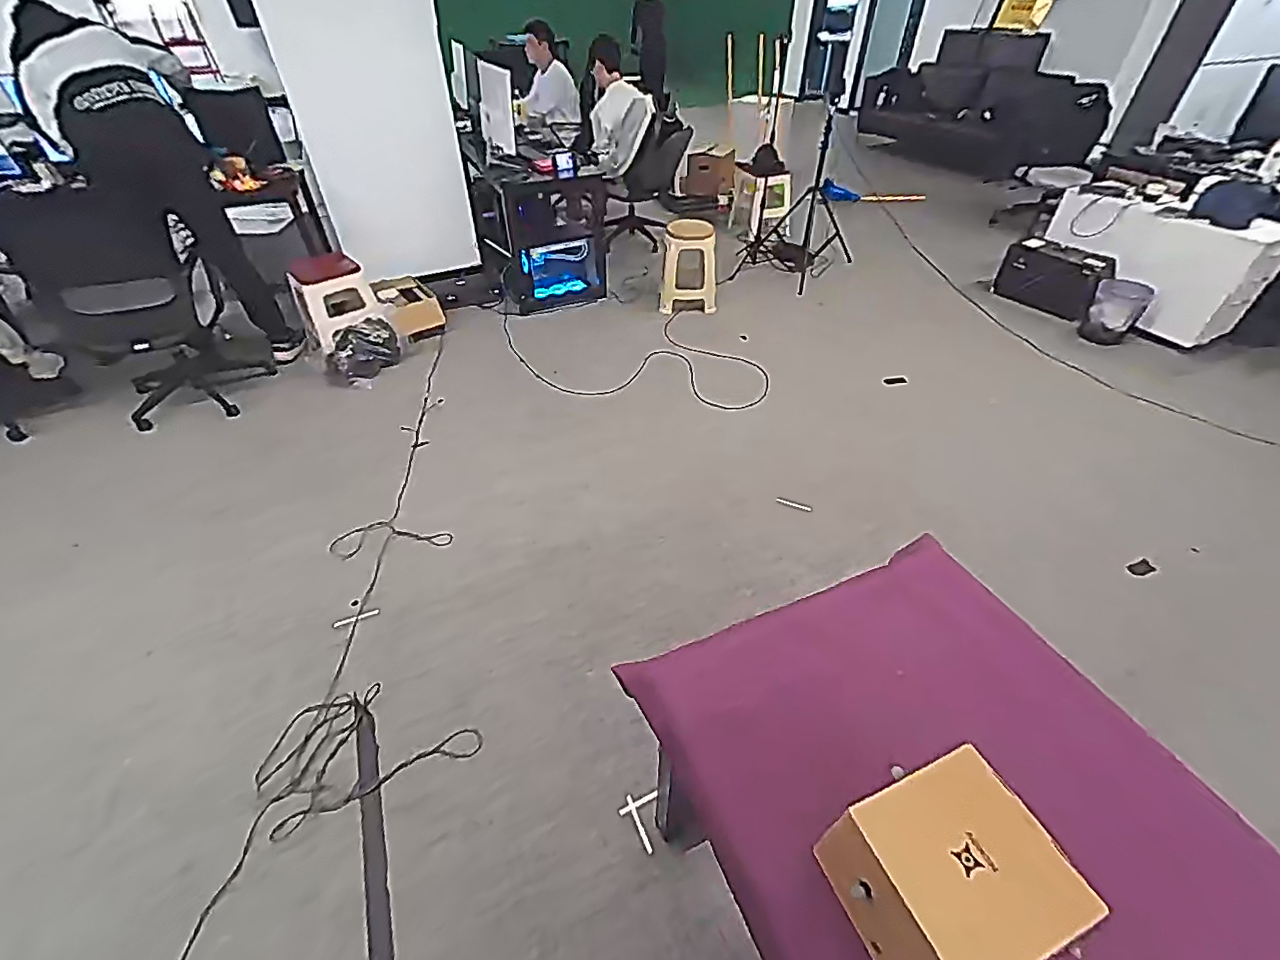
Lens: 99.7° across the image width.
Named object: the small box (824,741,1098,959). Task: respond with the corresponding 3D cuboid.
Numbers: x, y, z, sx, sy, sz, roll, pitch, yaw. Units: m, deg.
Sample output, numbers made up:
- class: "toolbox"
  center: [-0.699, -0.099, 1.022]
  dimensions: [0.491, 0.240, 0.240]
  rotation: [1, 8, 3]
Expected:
- class: "small box"
  center: [0.326, 0.430, 0.594]
  dimensions: [0.179, 0.176, 0.168]
  rotation: [-16, 45, -18]
